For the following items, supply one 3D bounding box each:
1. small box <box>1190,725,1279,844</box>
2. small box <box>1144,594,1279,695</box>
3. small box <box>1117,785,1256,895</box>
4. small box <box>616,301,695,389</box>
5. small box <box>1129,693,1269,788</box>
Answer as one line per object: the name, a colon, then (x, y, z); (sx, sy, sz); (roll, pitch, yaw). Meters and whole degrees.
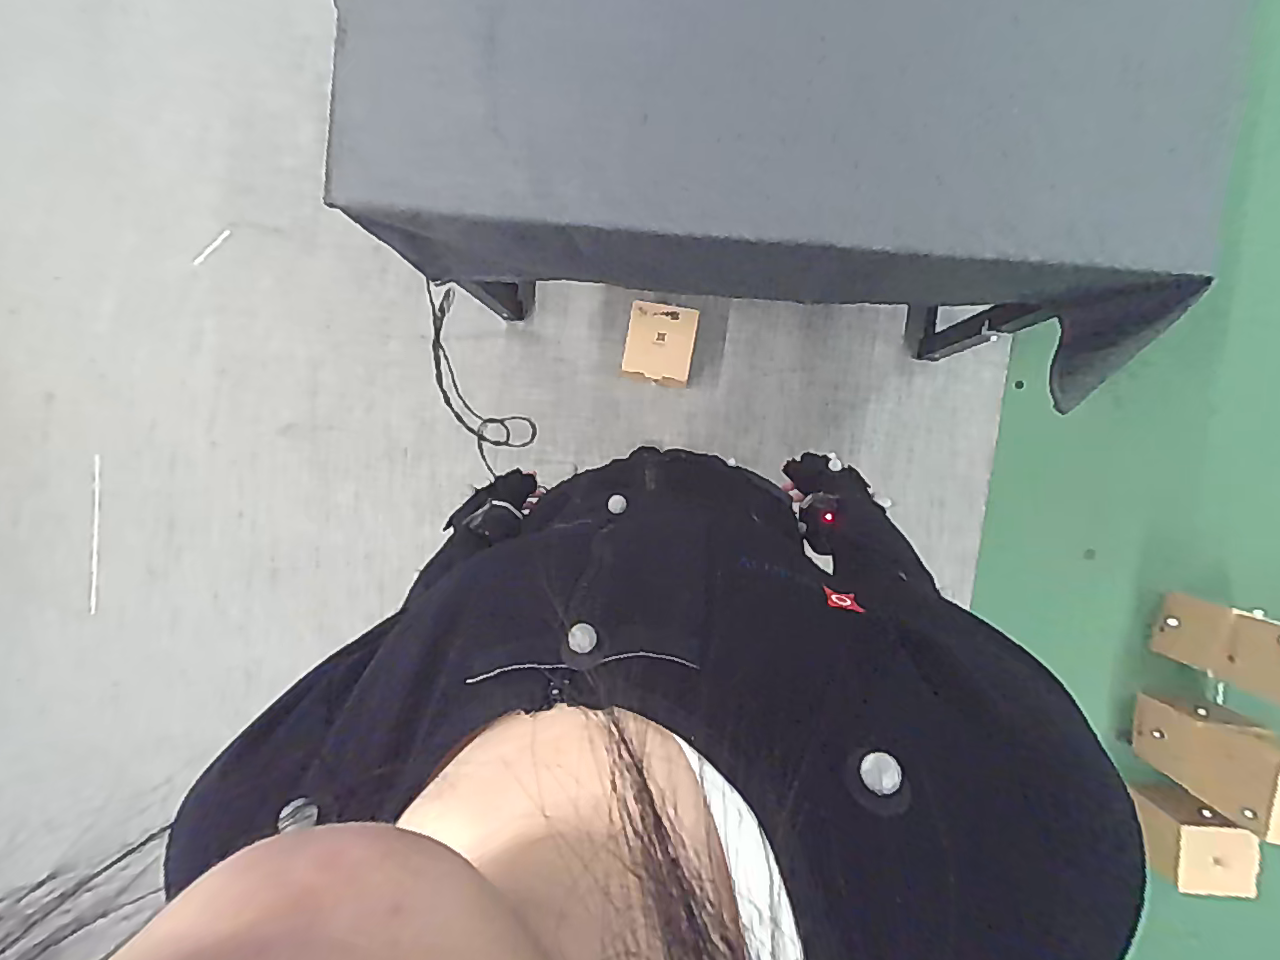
small box: (1.374, 0.665, 1.185); (0.168, 0.176, 0.179); (7, 93, 3)
small box: (1.425, 0.395, 1.334); (0.179, 0.176, 0.168); (17, 93, 4)
small box: (1.365, 0.897, 1.360); (0.179, 0.176, 0.168); (1, 92, 3)
small box: (0.044, -0.335, 1.376); (0.168, 0.176, 0.179); (10, 93, 3)
small box: (1.379, 0.650, 1.348); (0.179, 0.176, 0.168); (4, 93, 2)
